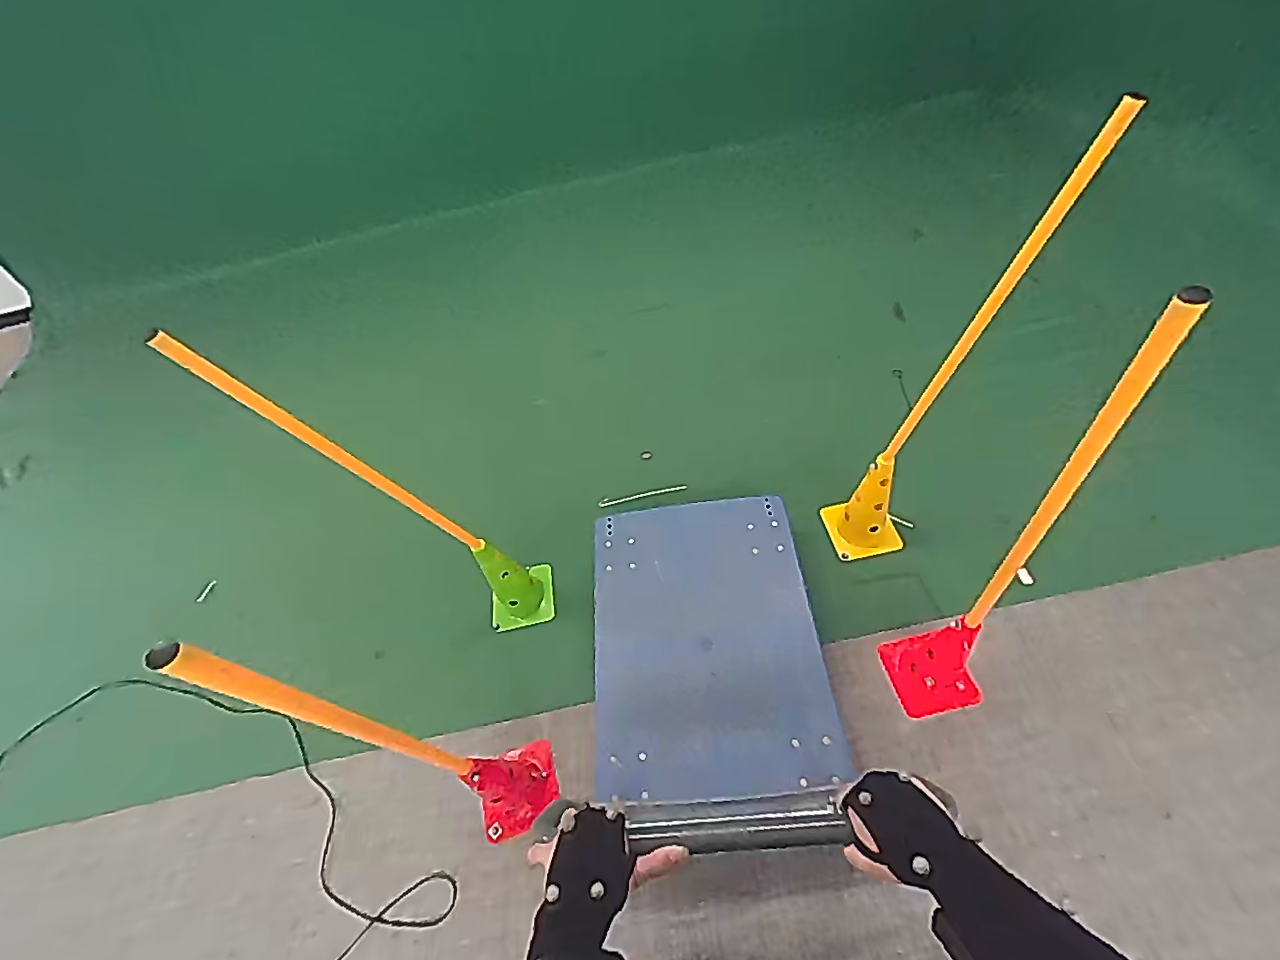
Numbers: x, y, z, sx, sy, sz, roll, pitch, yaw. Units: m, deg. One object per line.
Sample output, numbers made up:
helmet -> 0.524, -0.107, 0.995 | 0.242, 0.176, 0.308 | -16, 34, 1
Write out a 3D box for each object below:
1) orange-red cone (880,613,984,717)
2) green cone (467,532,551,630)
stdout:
orange-red cone -> 0.730, 0.402, 1.279 | 0.198, 0.360, 0.199 | -12, 51, 0
green cone -> -0.412, 0.265, 1.587 | 0.200, 0.368, 0.202 | -13, 52, 1
